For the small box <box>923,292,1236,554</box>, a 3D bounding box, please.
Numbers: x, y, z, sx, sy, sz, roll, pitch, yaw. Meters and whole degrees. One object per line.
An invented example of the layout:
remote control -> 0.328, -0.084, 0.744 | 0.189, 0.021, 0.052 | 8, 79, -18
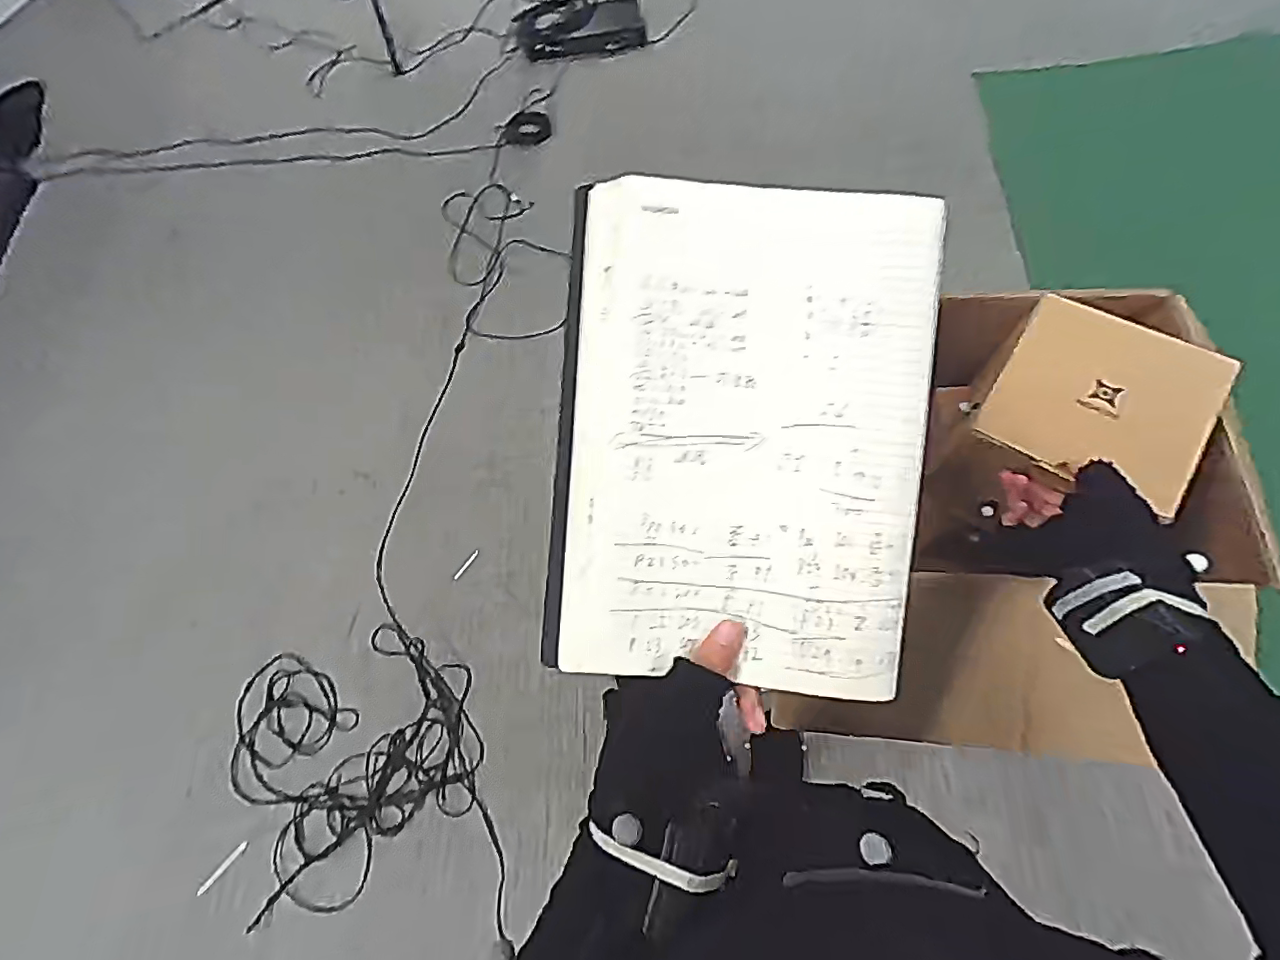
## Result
small box -> 0.427, -0.049, 0.559 | 0.168, 0.176, 0.179 | 31, 77, 18
